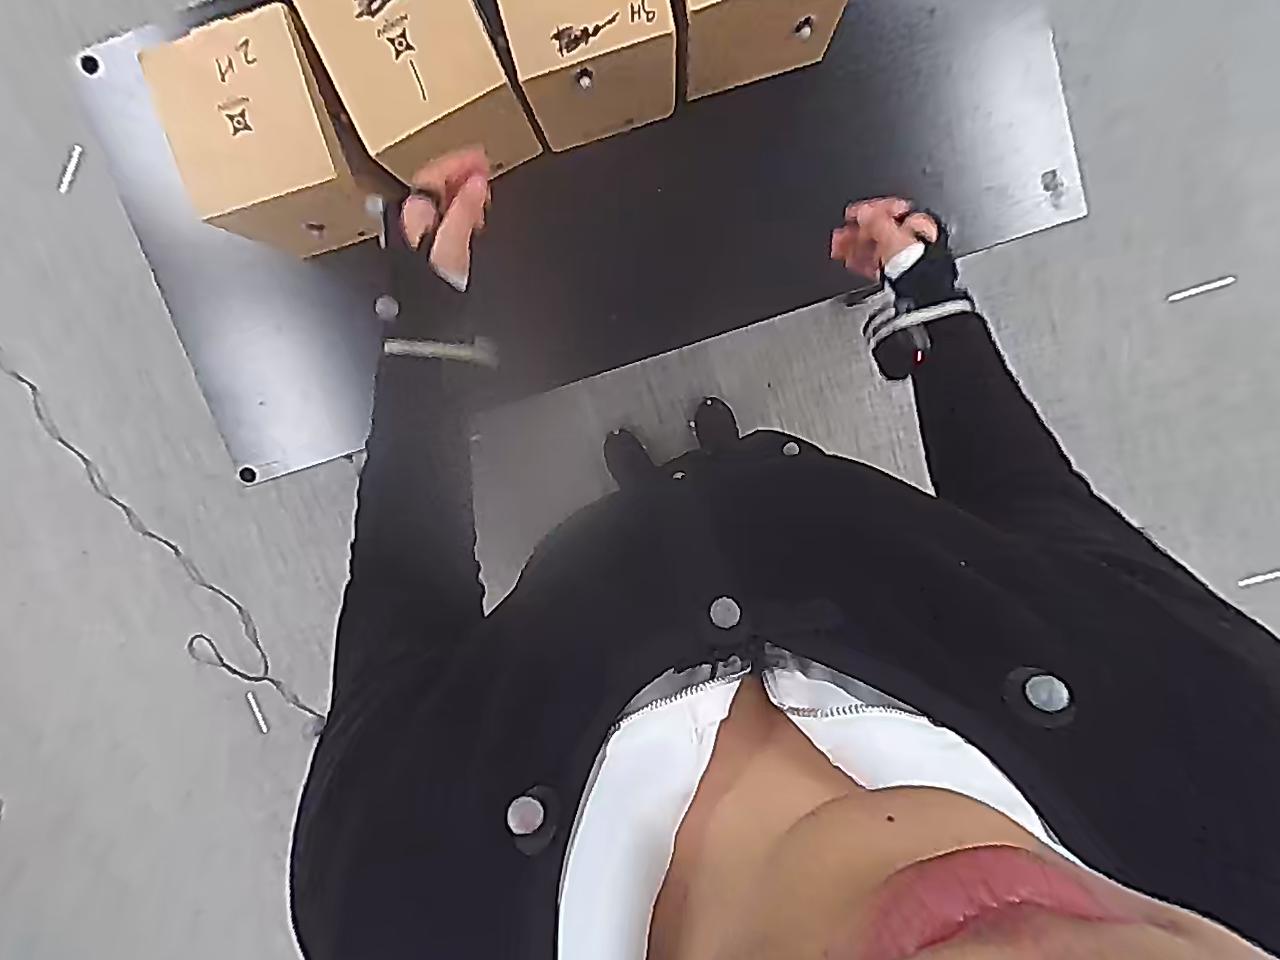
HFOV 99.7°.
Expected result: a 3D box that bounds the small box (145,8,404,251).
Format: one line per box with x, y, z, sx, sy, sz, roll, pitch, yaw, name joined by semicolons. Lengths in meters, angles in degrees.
-0.414;-0.392;0.647;0.168;0.176;0.179;-15;97;4;small box
